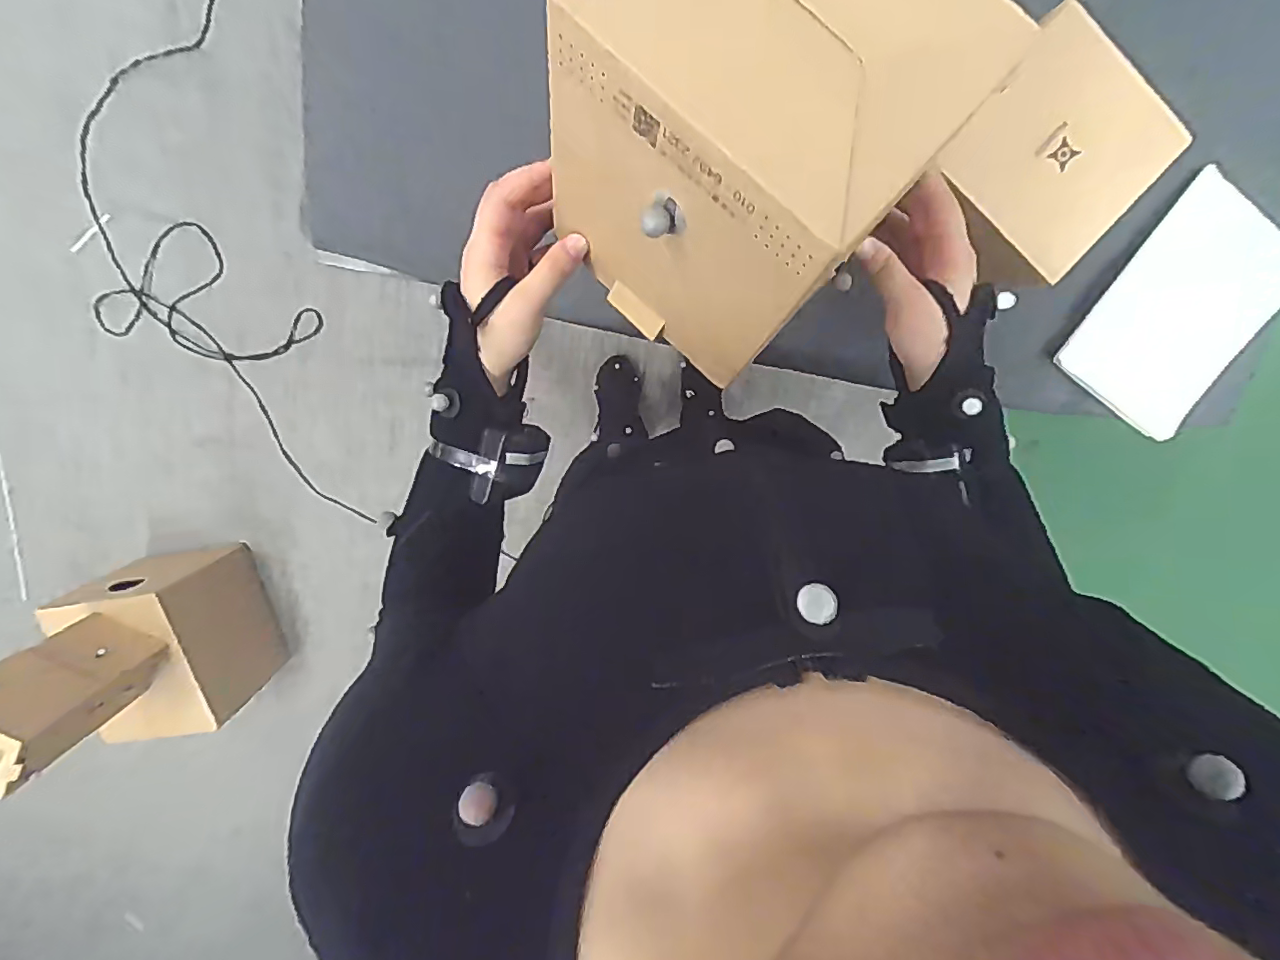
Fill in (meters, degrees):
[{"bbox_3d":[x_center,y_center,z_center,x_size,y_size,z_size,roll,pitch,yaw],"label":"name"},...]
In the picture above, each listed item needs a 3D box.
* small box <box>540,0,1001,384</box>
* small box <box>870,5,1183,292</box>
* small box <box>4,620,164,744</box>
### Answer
[{"bbox_3d":[0.060,-0.195,0.322,0.168,0.176,0.179,42,76,3],"label":"small box"},{"bbox_3d":[0.376,-0.317,0.569,0.179,0.176,0.168,38,102,-8],"label":"small box"},{"bbox_3d":[-1.256,0.453,1.236,0.179,0.176,0.168,30,103,-10],"label":"small box"}]
